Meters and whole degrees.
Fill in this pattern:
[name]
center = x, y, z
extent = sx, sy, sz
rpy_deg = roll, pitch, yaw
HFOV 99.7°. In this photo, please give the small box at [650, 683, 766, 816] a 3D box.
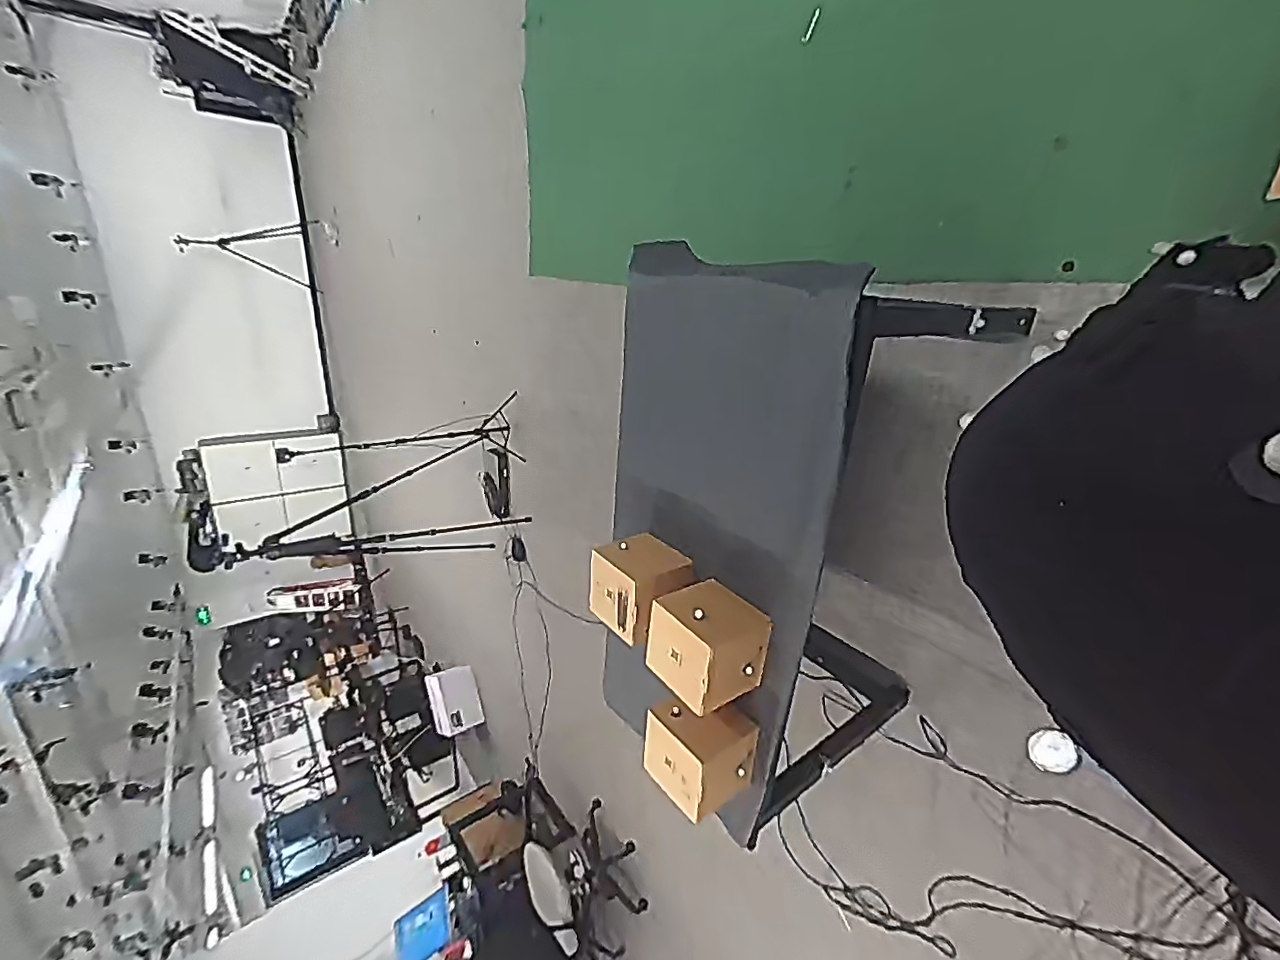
[small box]
center = 0.144, 0.569, 1.176
extent = 0.179, 0.176, 0.168
rpy_deg = 26, 120, 47
